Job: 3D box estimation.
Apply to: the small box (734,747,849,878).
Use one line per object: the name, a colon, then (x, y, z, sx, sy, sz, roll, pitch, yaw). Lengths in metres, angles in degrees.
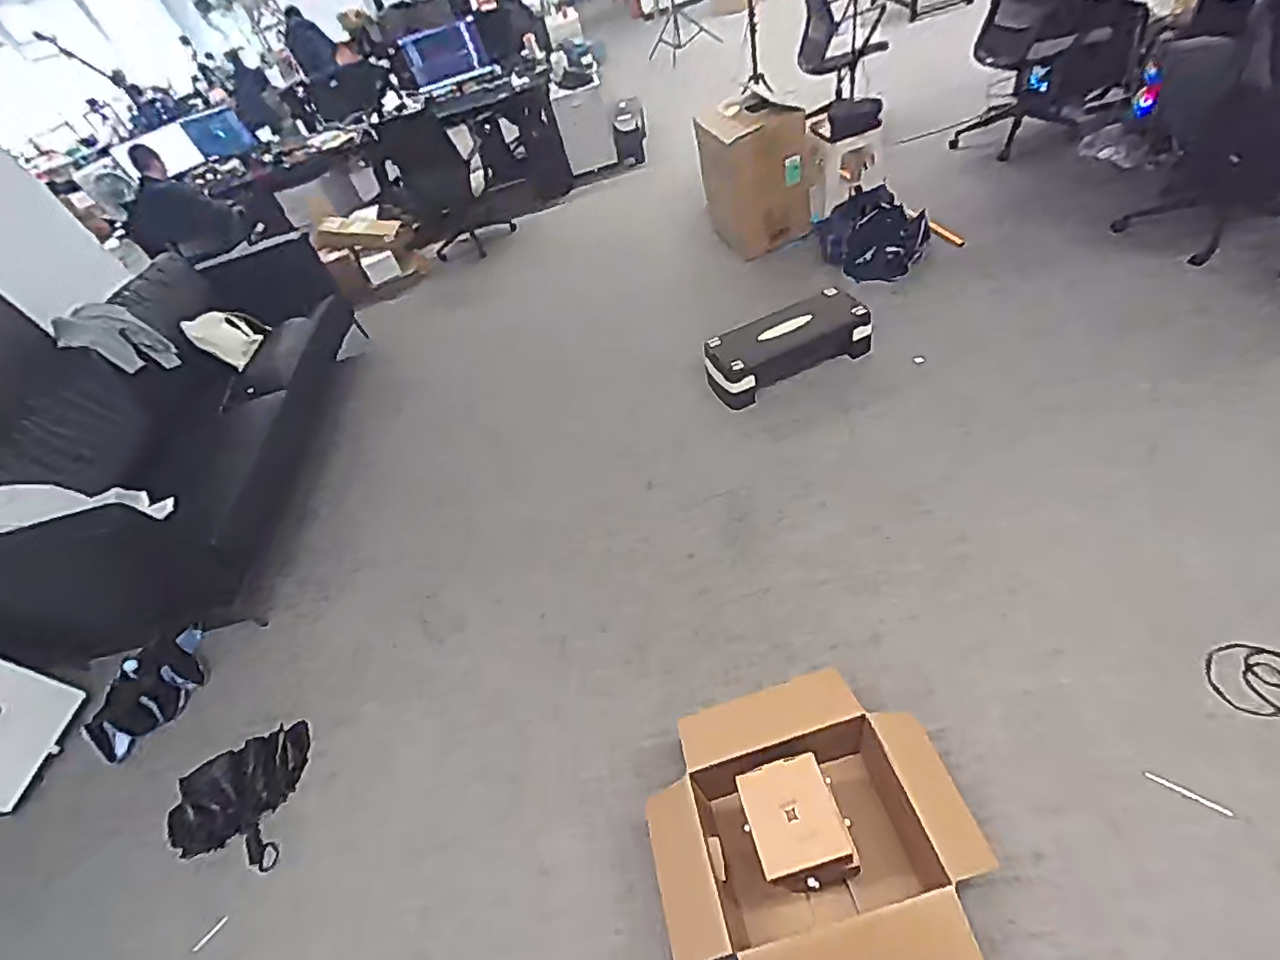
small box: (0.302, 0.671, 1.086, 0.168, 0.176, 0.179, -21, 48, 4)
